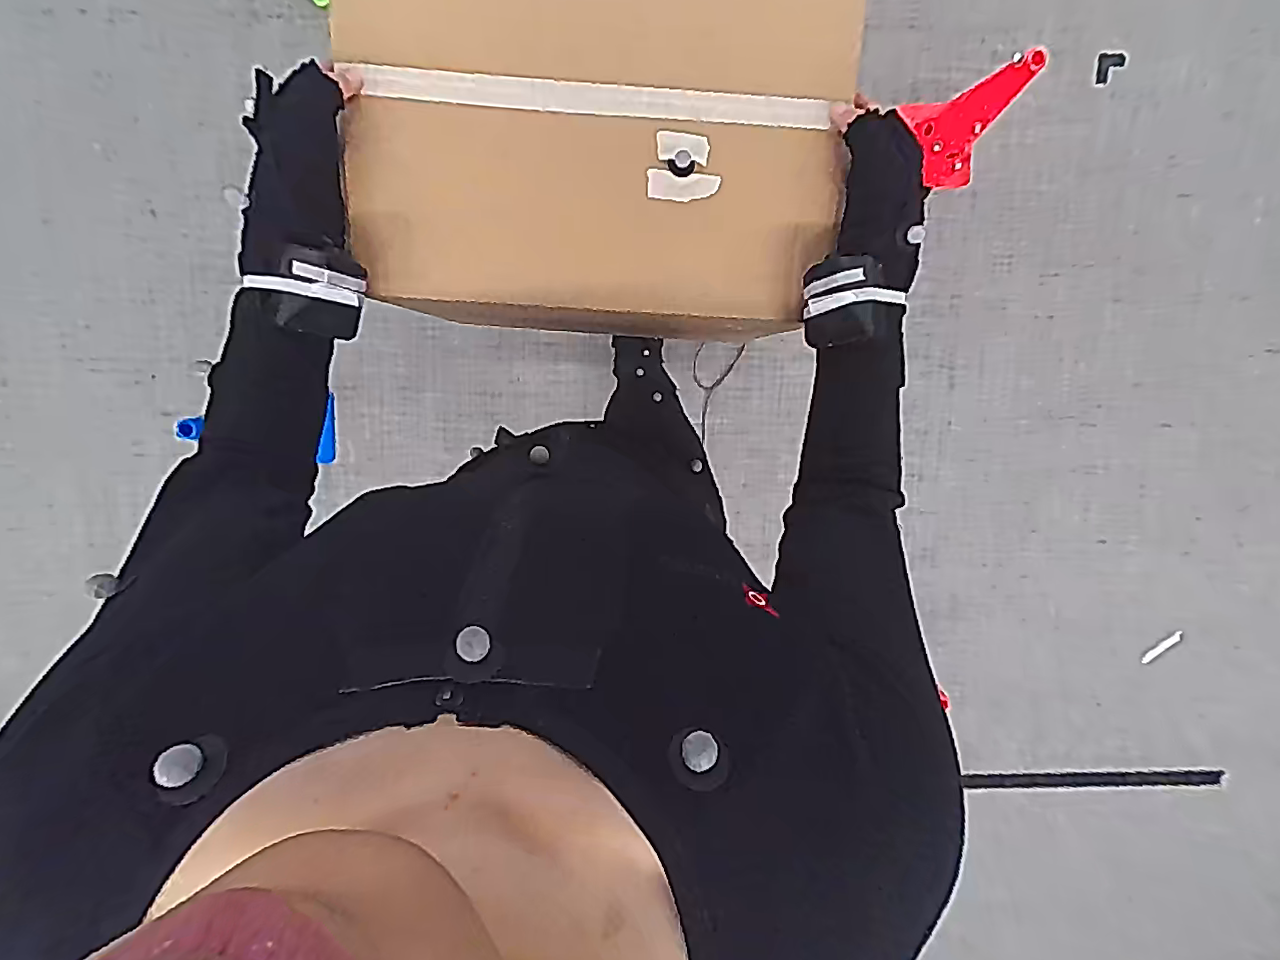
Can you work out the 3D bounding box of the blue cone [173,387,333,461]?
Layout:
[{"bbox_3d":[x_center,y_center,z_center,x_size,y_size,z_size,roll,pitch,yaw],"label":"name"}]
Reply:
[{"bbox_3d":[-0.901,-0.123,1.257,0.192,0.380,0.193,4,98,-1],"label":"blue cone"}]

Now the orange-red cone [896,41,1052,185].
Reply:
[{"bbox_3d":[0.744,-0.824,1.182,0.198,0.360,0.199,-2,97,-2],"label":"orange-red cone"}]

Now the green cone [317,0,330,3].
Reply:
[{"bbox_3d":[-0.736,-1.230,1.088,0.202,0.368,0.200,-37,96,5],"label":"green cone"}]

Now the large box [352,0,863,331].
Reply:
[{"bbox_3d":[-0.034,-0.337,0.576,0.408,0.320,0.320,2,102,-4],"label":"large box"}]
